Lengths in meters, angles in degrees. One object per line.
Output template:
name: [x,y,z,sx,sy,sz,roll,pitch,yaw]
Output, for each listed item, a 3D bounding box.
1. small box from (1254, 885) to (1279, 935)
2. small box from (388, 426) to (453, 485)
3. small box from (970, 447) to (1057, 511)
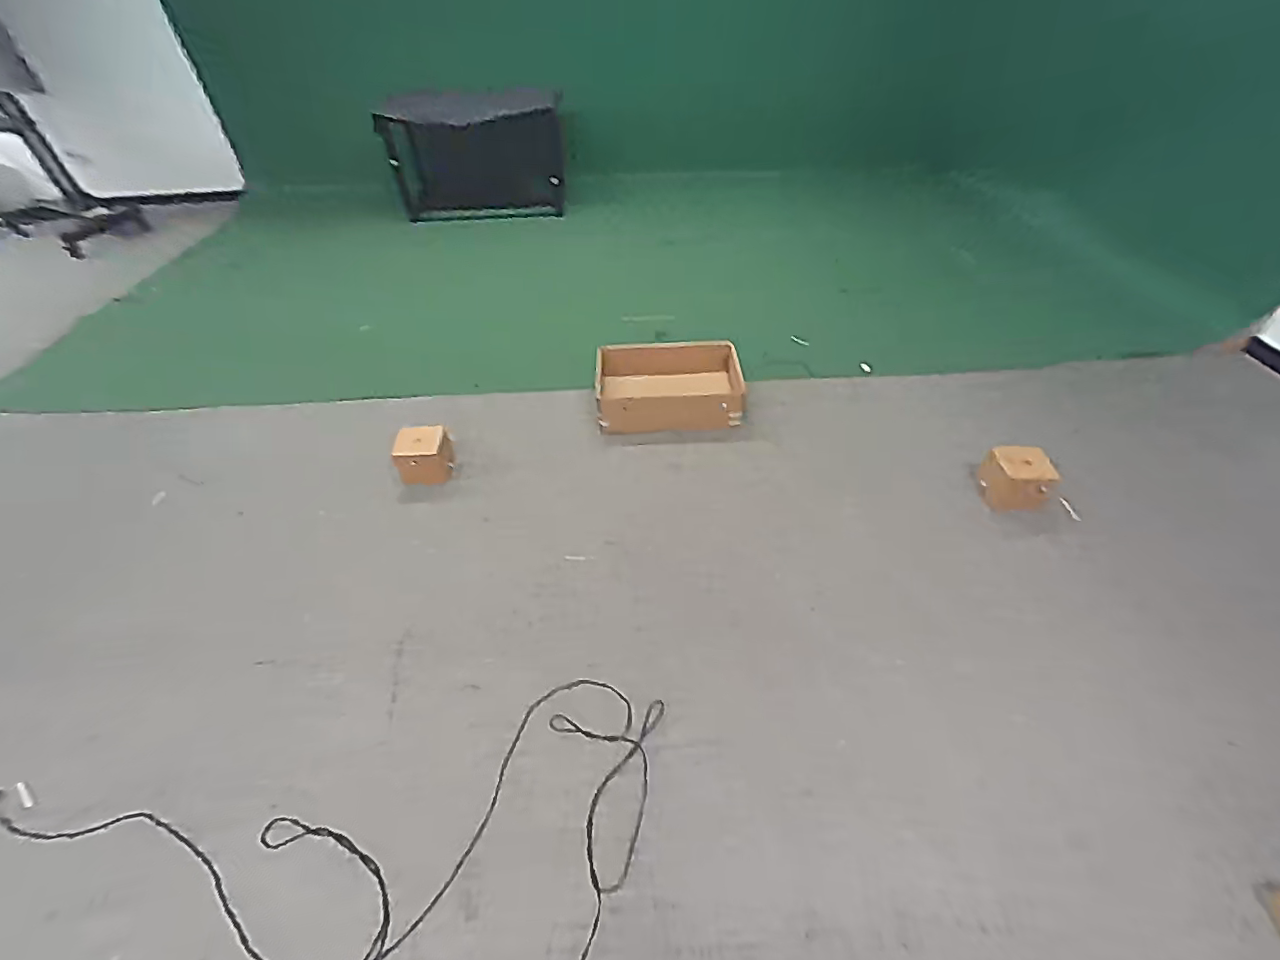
small box: [1.406,0.898,1.057,0.168,0.176,0.179,-2,44,0]
small box: [-0.859,-0.094,2.132,0.179,0.176,0.168,-3,46,-2]
small box: [1.340,-0.001,1.953,0.179,0.176,0.168,1,45,3]
